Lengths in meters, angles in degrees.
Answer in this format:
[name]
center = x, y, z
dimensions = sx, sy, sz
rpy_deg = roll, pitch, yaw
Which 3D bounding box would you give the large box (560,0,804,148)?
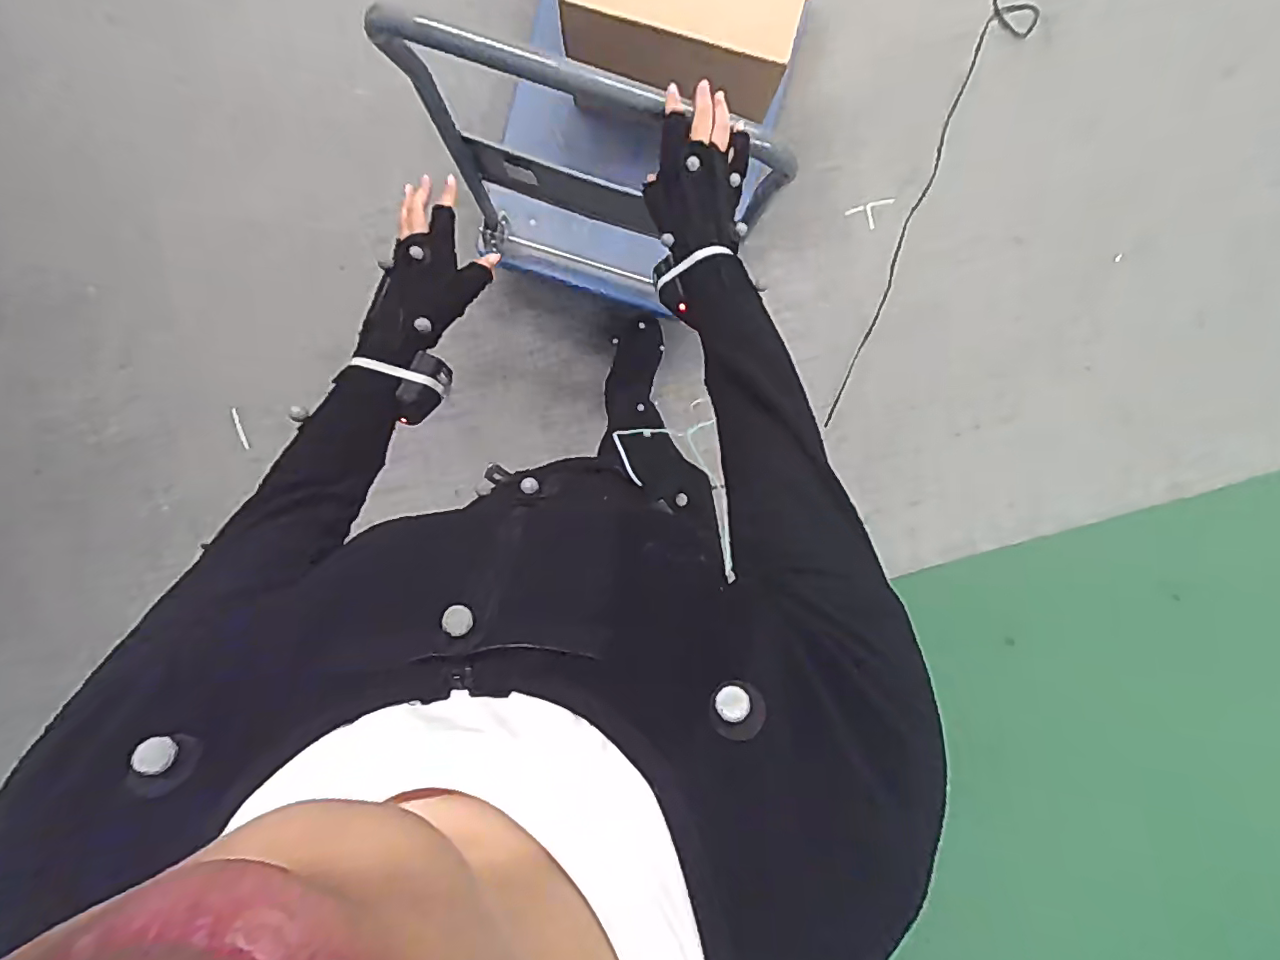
[large box]
center = 0.094, -0.915, 1.044
dimensions = 0.408, 0.320, 0.320
rpy_deg = 15, 95, -2
